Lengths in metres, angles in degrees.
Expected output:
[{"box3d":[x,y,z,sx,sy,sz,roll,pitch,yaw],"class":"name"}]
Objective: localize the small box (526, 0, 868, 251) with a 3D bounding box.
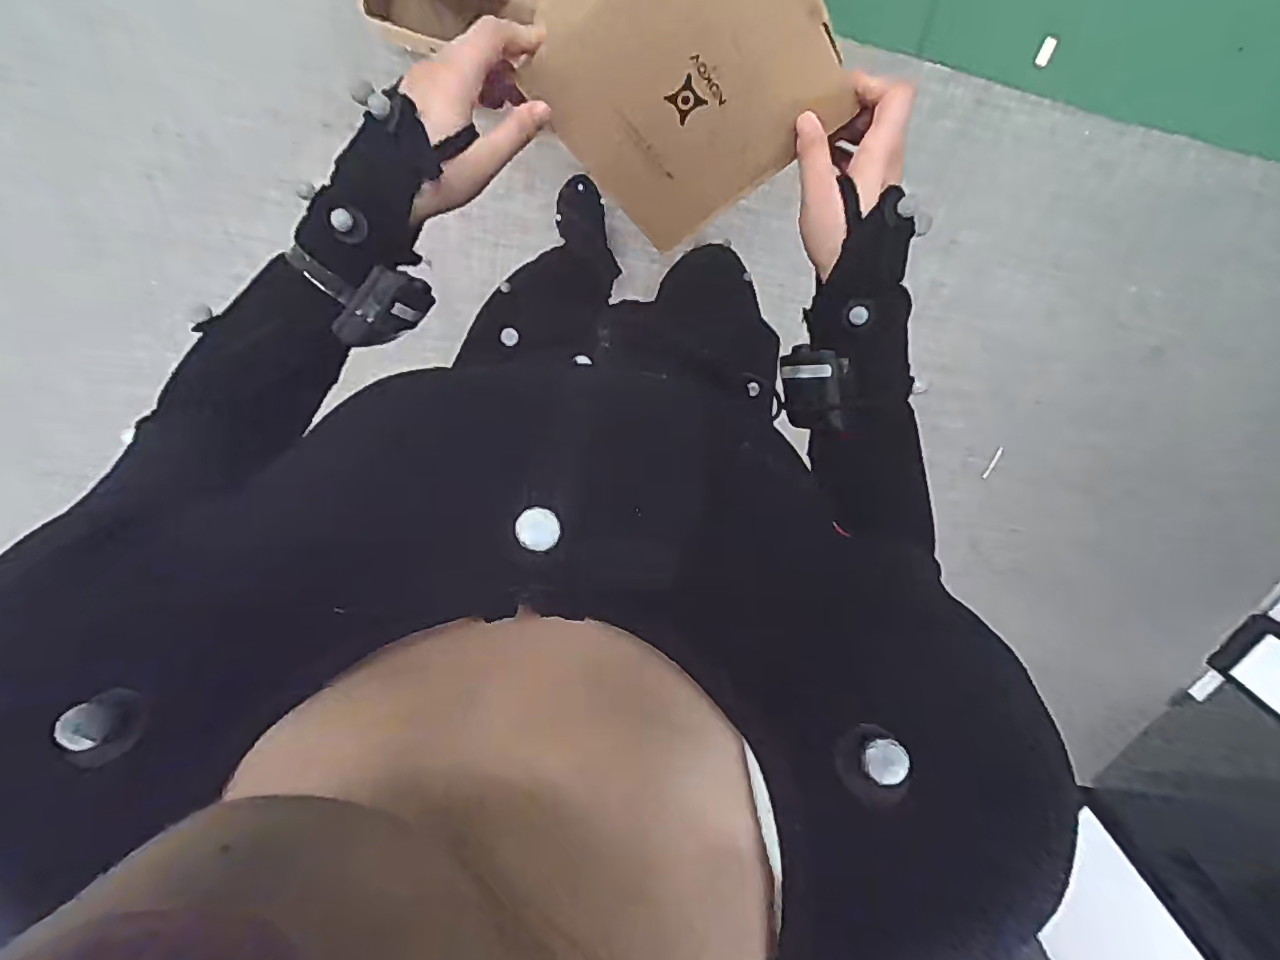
[{"box3d":[0.039,-0.324,0.405,0.179,0.176,0.168,-24,138,31],"class":"small box"}]
